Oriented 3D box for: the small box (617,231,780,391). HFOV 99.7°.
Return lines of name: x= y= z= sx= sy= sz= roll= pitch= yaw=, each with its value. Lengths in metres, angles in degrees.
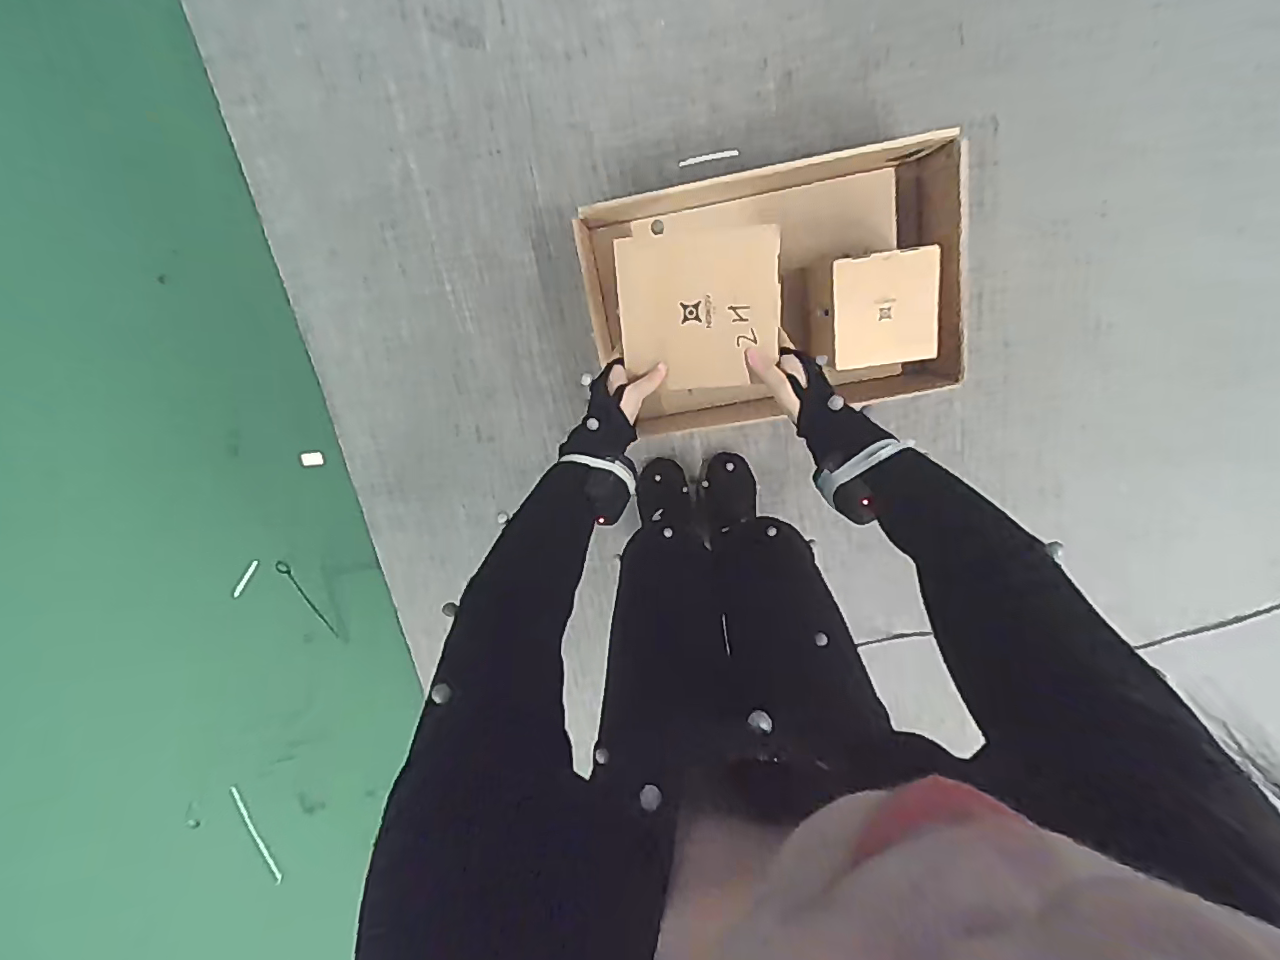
small box: x=0.073 y=-0.207 z=0.674 sx=0.179 sy=0.176 sz=0.168 roll=-2 pitch=109 yaw=6
